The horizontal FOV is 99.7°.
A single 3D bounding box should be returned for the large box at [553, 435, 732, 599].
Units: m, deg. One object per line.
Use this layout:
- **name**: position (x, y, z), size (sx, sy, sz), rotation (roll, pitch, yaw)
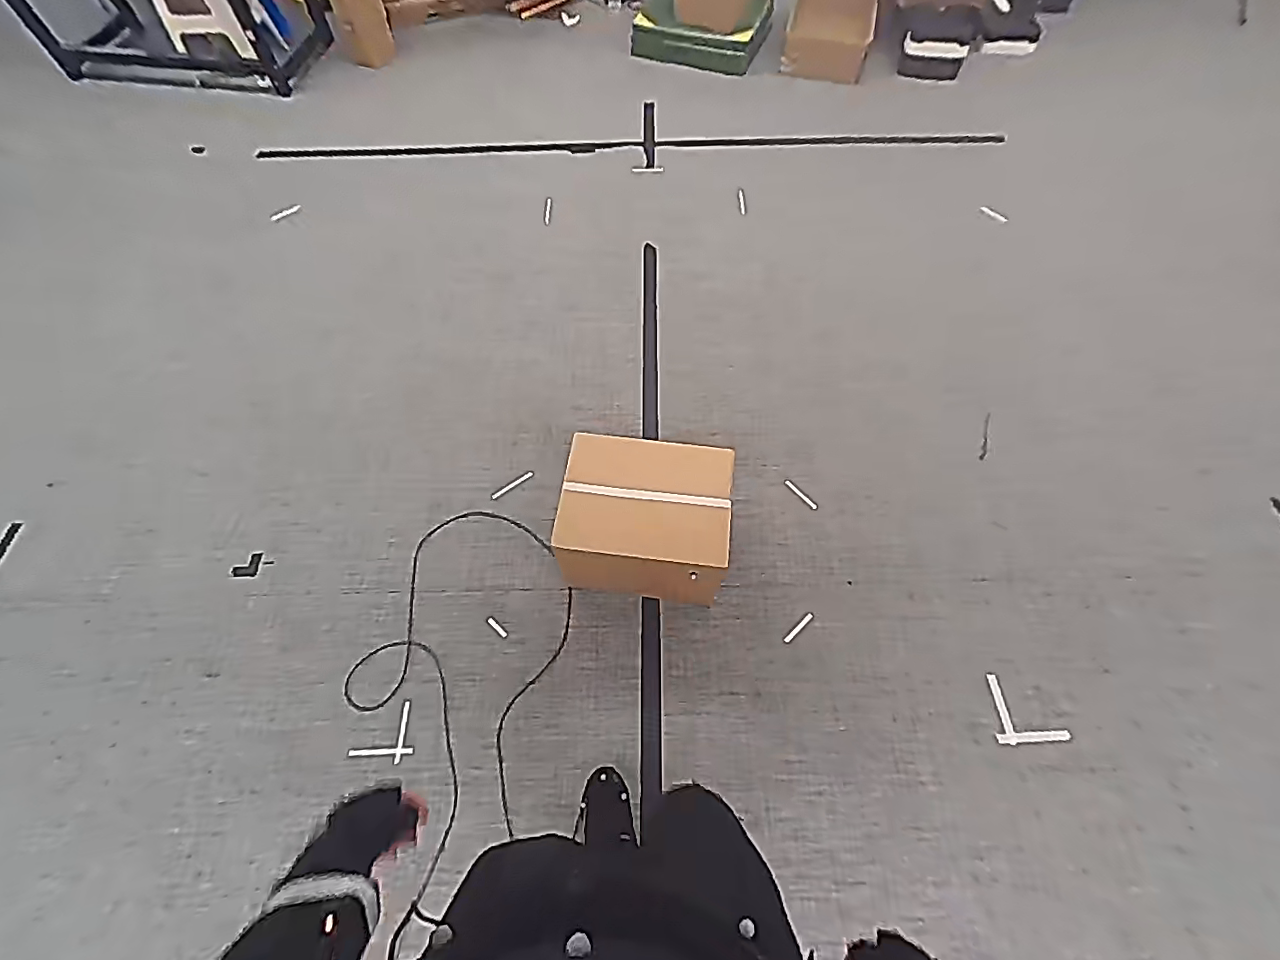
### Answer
- **large box**: position (0.016, 0.107, 1.408), size (0.408, 0.320, 0.320), rotation (7, 62, 3)
